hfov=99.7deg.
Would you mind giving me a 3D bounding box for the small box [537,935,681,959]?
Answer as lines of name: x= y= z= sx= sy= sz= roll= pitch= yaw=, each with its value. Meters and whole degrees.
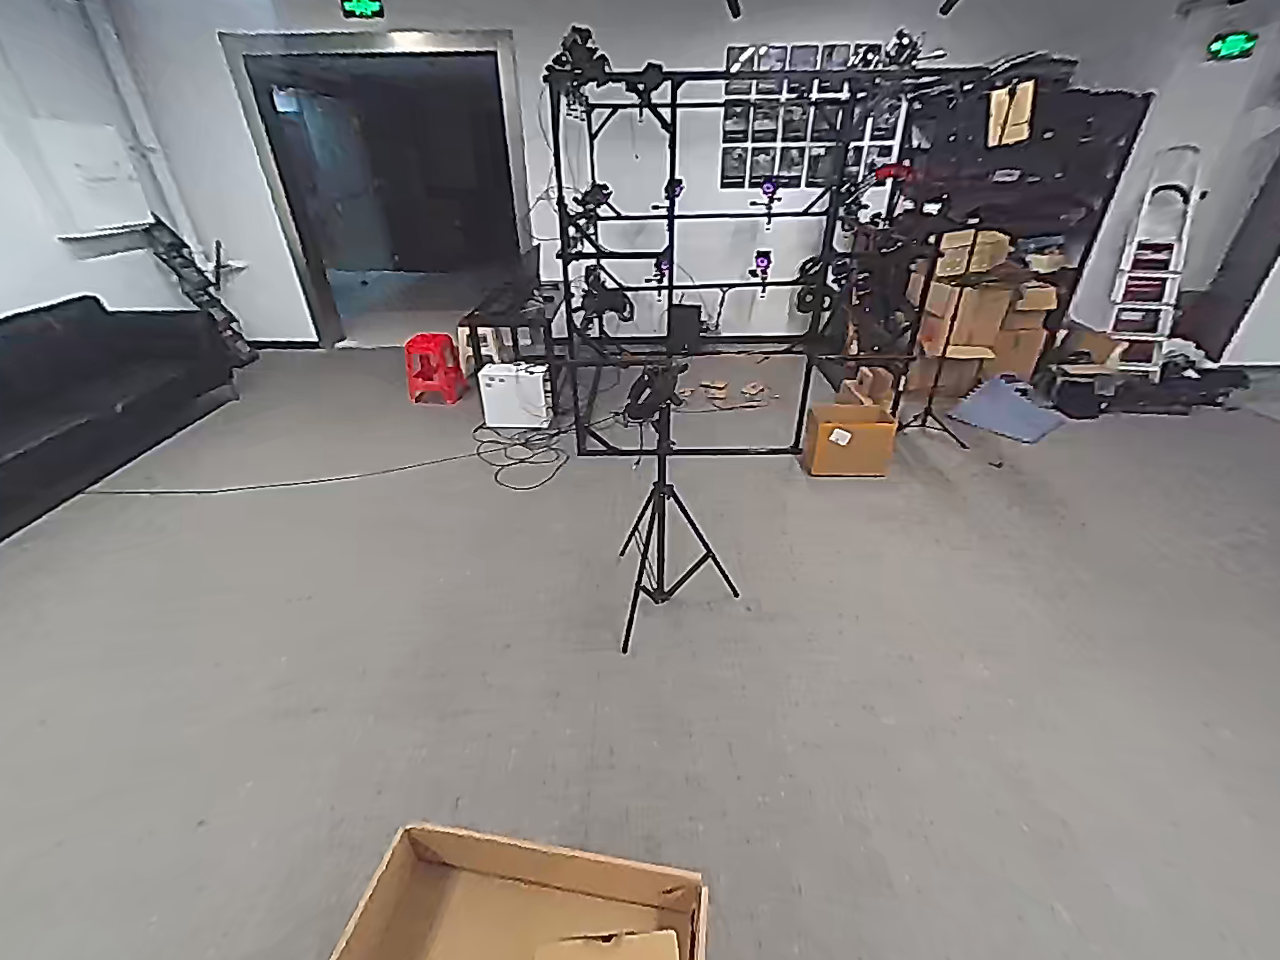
small box: x=-0.036 y=0.641 z=0.586 sx=0.168 sy=0.176 sz=0.179 roll=0 pitch=30 yaw=-6
